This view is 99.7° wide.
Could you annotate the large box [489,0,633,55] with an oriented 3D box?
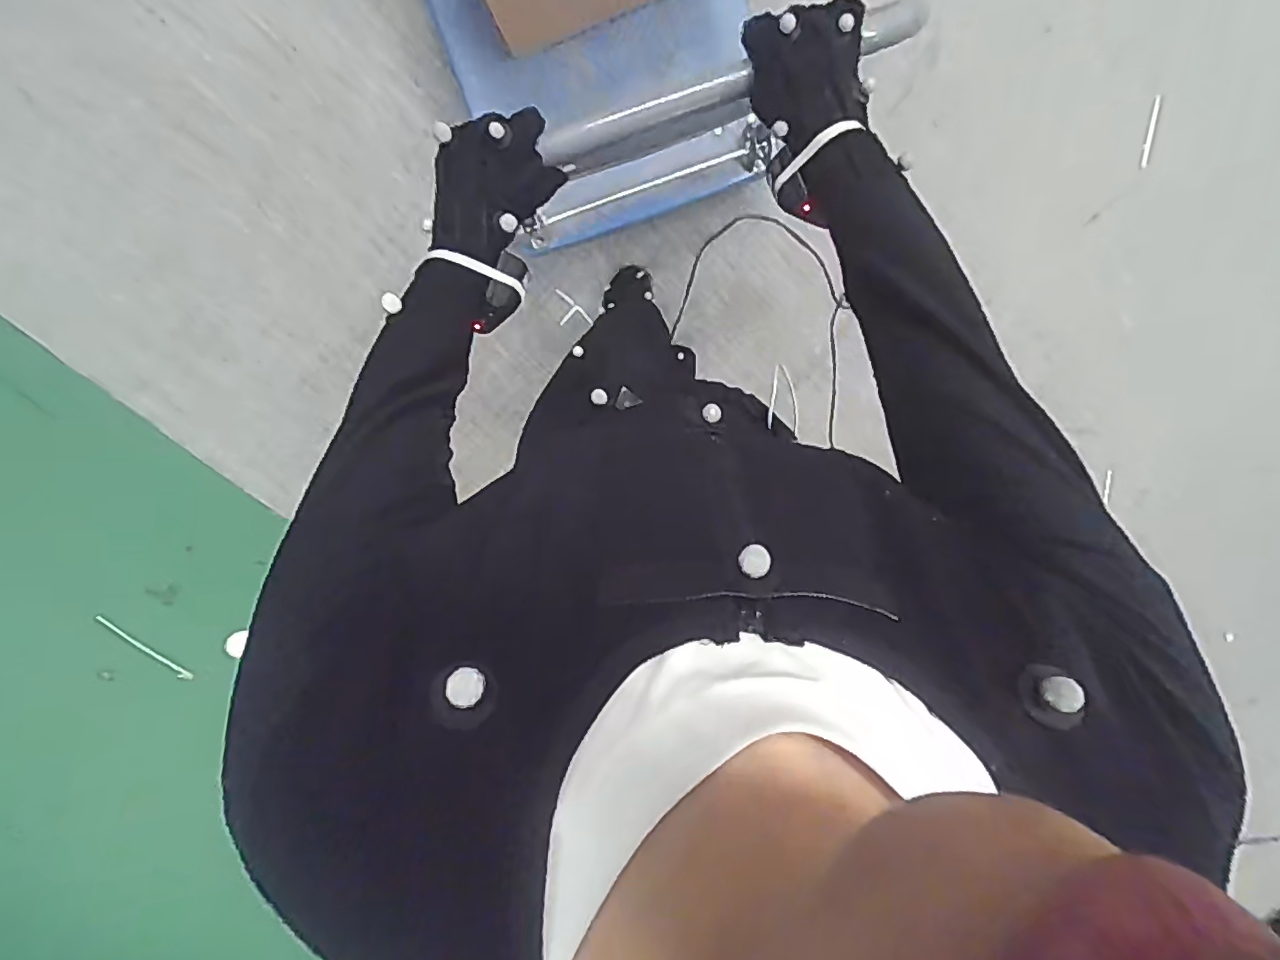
[{"bbox_3d":[-0.106,-0.974,0.843,0.408,0.320,0.320,-20,107,6],"label":"large box"}]
